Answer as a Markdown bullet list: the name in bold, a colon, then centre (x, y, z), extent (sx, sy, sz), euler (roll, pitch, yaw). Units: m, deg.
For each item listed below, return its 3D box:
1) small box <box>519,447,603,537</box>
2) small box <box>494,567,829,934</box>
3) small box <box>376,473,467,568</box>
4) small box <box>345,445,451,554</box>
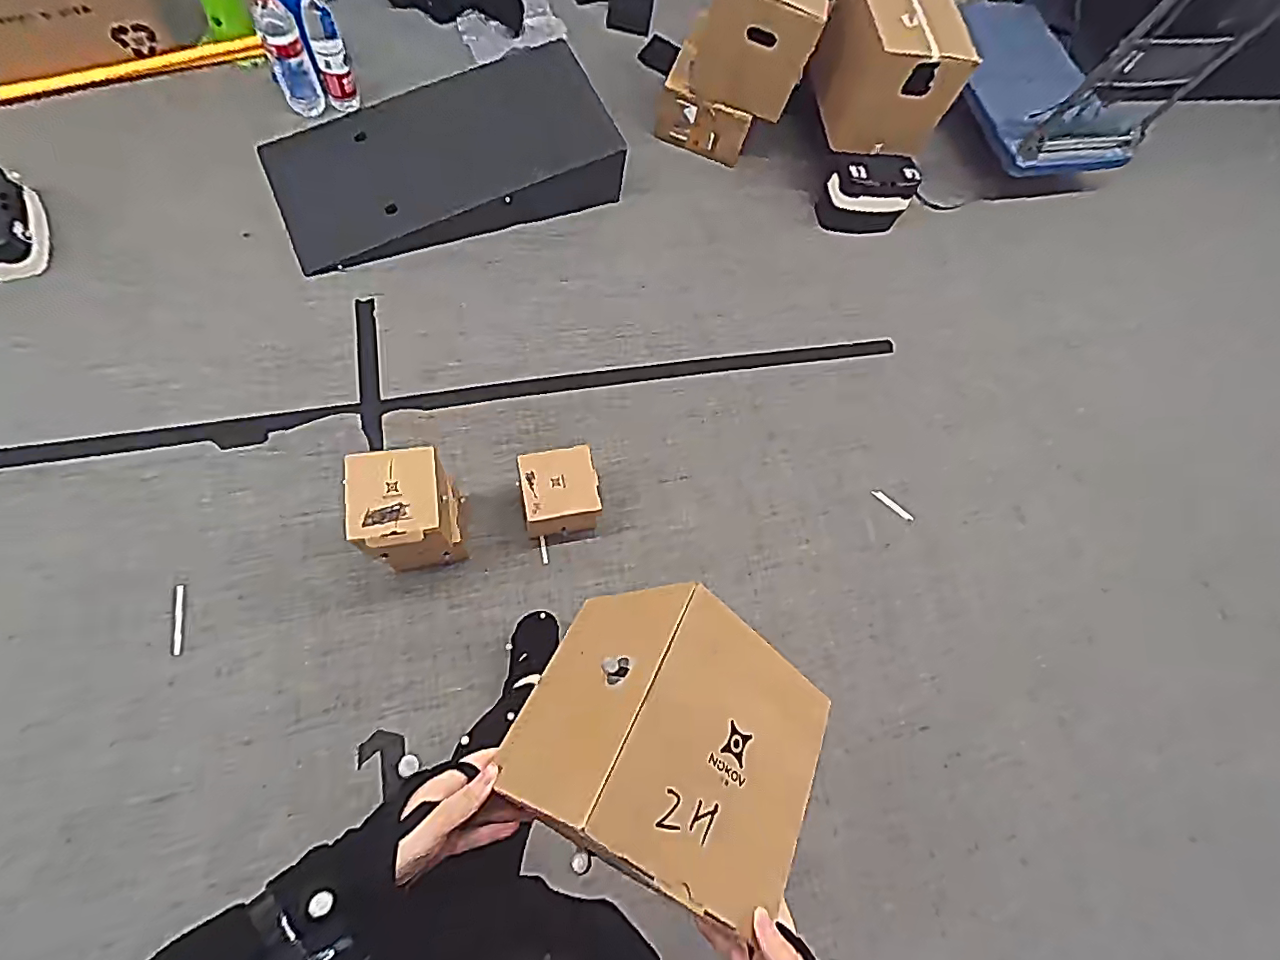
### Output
- **small box**: centre (-0.200, 0.033, 1.332), extent (0.179, 0.176, 0.168), euler (-8, 72, -14)
- **small box**: centre (0.014, 0.195, 0.429), extent (0.168, 0.176, 0.179), euler (44, 55, -16)
- **small box**: centre (-0.504, 0.098, 1.253), extent (0.179, 0.176, 0.168), euler (-9, 73, -13)
- **small box**: centre (-0.484, 0.047, 1.098), extent (0.168, 0.176, 0.179), euler (-7, 71, -13)
